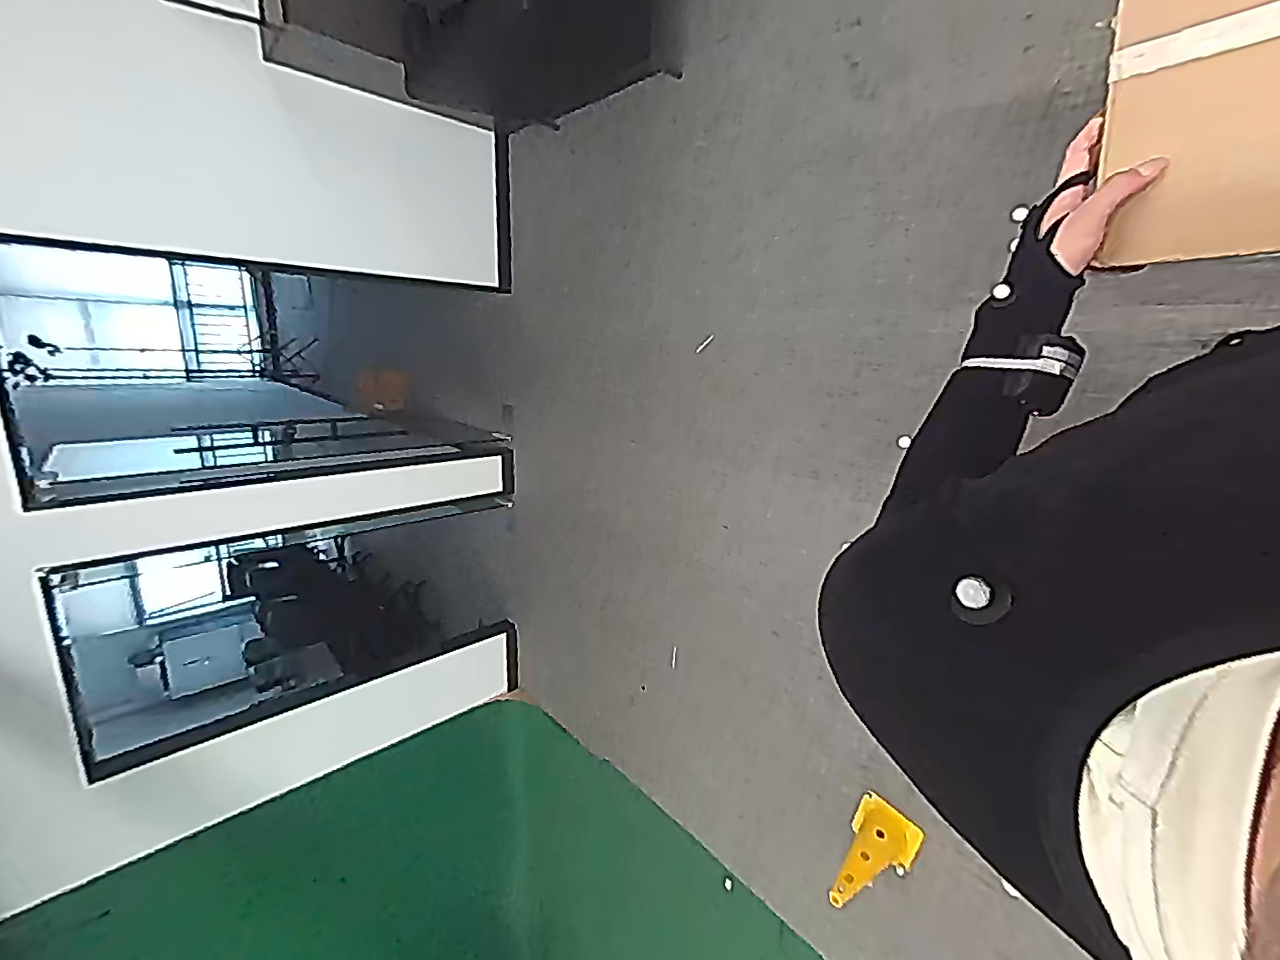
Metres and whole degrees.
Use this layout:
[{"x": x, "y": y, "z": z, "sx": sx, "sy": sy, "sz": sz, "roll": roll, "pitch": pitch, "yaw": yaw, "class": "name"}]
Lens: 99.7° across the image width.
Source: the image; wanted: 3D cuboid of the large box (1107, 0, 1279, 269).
[{"x": 0.641, "y": -0.357, "z": 0.395, "sx": 0.408, "sy": 0.320, "sz": 0.320, "roll": 12, "pitch": 119, "yaw": 46, "class": "large box"}]
